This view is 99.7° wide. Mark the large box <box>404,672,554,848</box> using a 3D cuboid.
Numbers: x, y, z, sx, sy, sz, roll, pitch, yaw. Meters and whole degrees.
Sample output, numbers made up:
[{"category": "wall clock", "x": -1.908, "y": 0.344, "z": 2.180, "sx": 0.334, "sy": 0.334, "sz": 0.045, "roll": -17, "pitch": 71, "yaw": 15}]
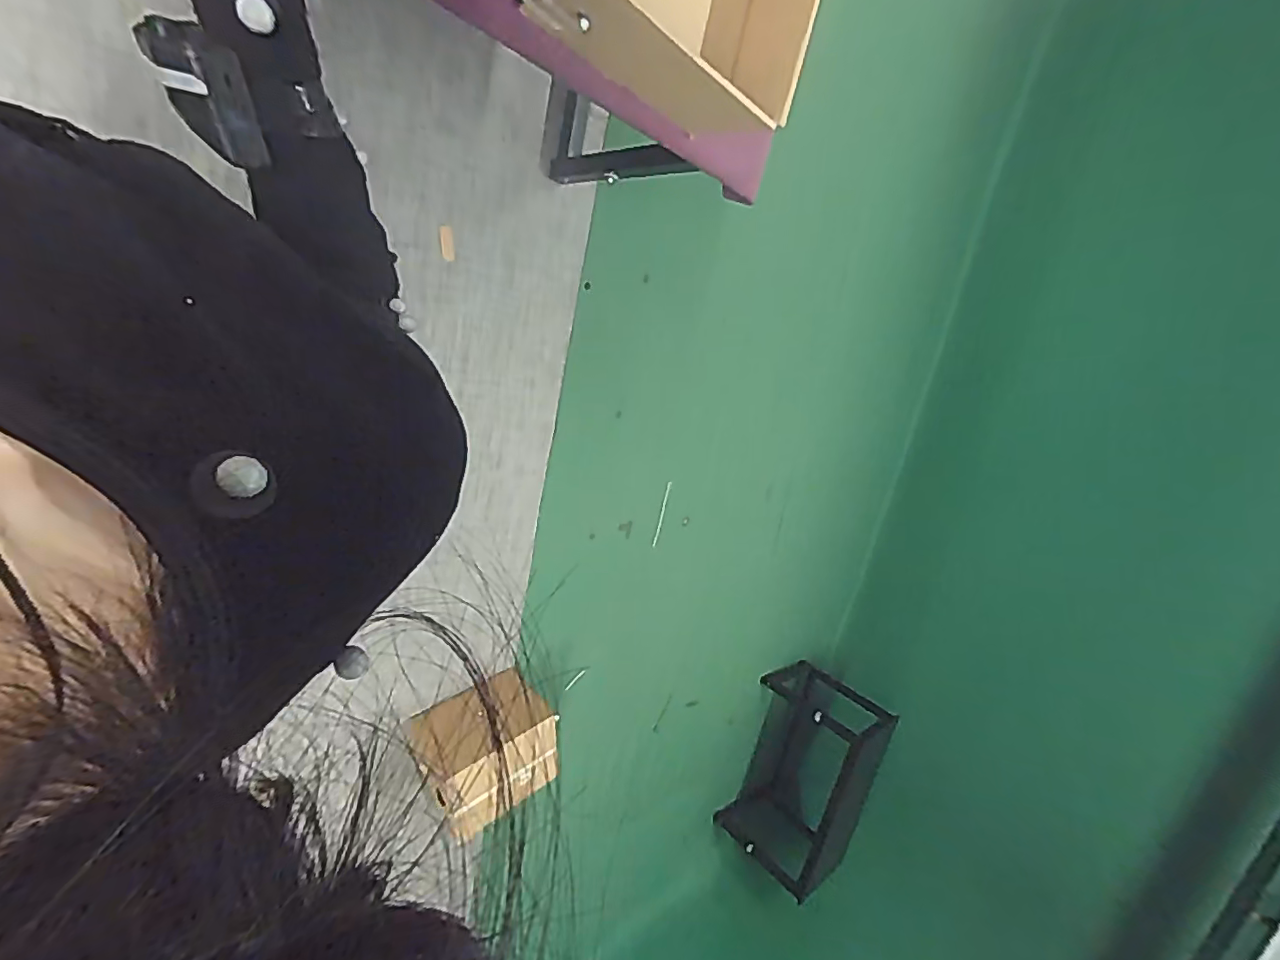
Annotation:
[{"category": "large box", "x": -0.564, "y": 0.968, "z": 1.922, "sx": 0.408, "sy": 0.320, "sz": 0.320, "roll": -19, "pitch": 121, "yaw": -40}]
